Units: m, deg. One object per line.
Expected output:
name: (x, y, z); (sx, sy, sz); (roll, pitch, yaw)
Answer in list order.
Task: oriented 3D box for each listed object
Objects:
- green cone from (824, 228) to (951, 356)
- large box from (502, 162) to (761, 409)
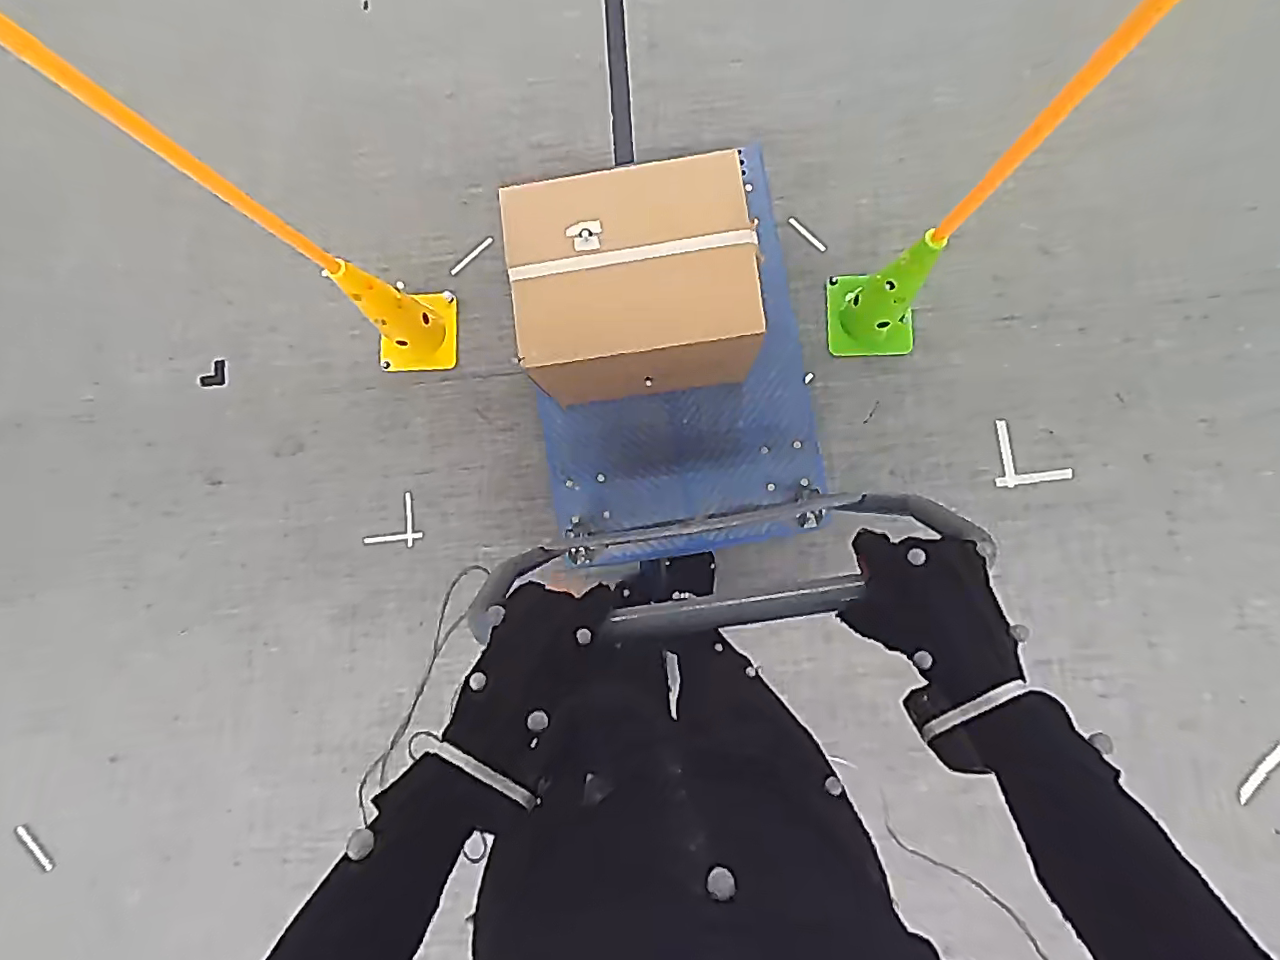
green cone: (0.547, -0.417, 1.154); (0.202, 0.368, 0.200); (-1, 85, 3)
large box: (-0.007, -0.339, 1.043); (0.408, 0.320, 0.320); (-8, 85, 4)
